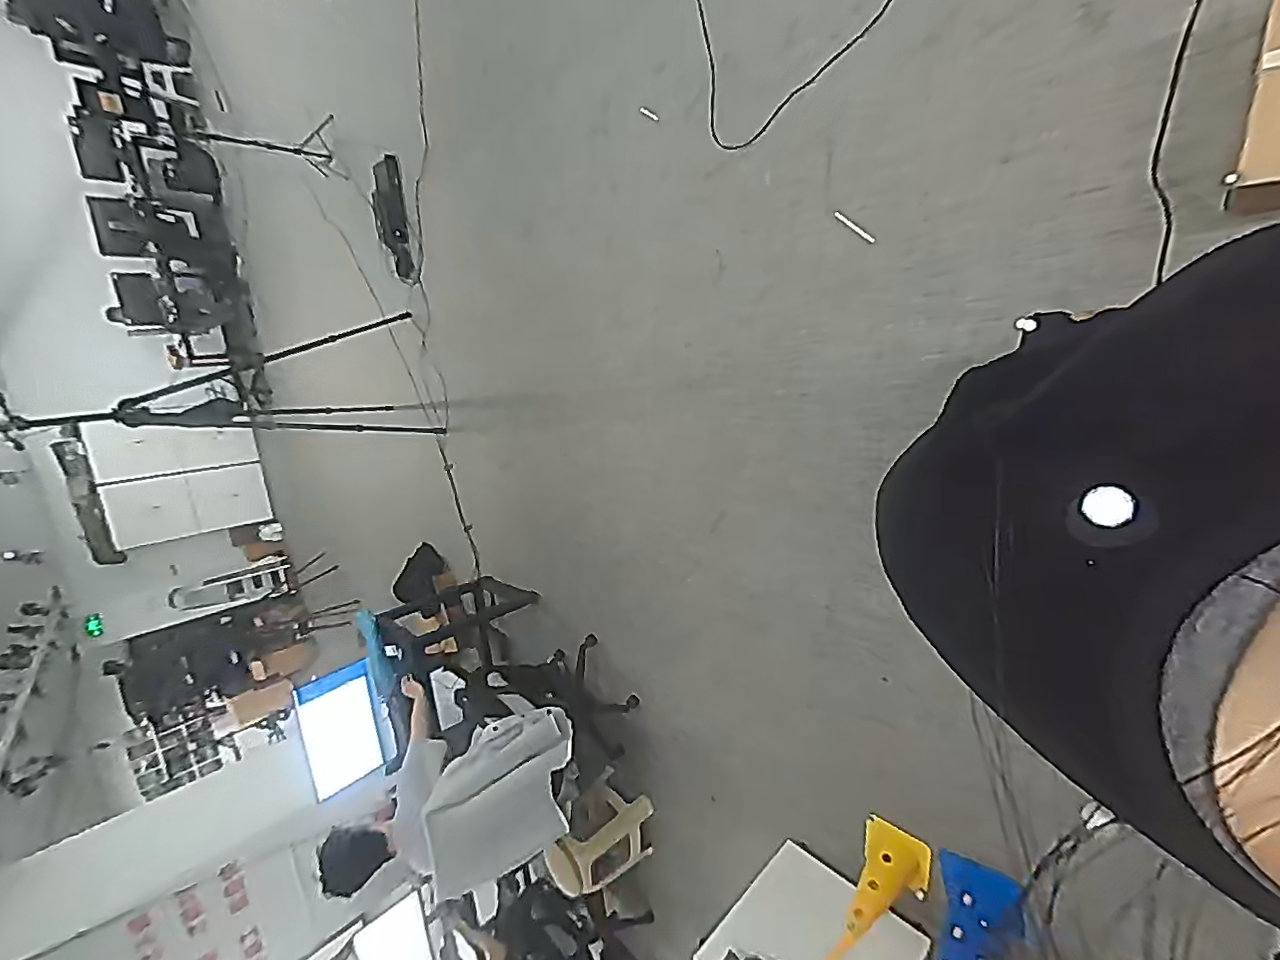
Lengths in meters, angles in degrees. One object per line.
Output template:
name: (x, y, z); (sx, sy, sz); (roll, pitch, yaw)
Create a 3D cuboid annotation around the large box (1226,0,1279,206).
large box: (1.114, -0.585, 0.724); (0.408, 0.320, 0.320); (14, 111, 44)
